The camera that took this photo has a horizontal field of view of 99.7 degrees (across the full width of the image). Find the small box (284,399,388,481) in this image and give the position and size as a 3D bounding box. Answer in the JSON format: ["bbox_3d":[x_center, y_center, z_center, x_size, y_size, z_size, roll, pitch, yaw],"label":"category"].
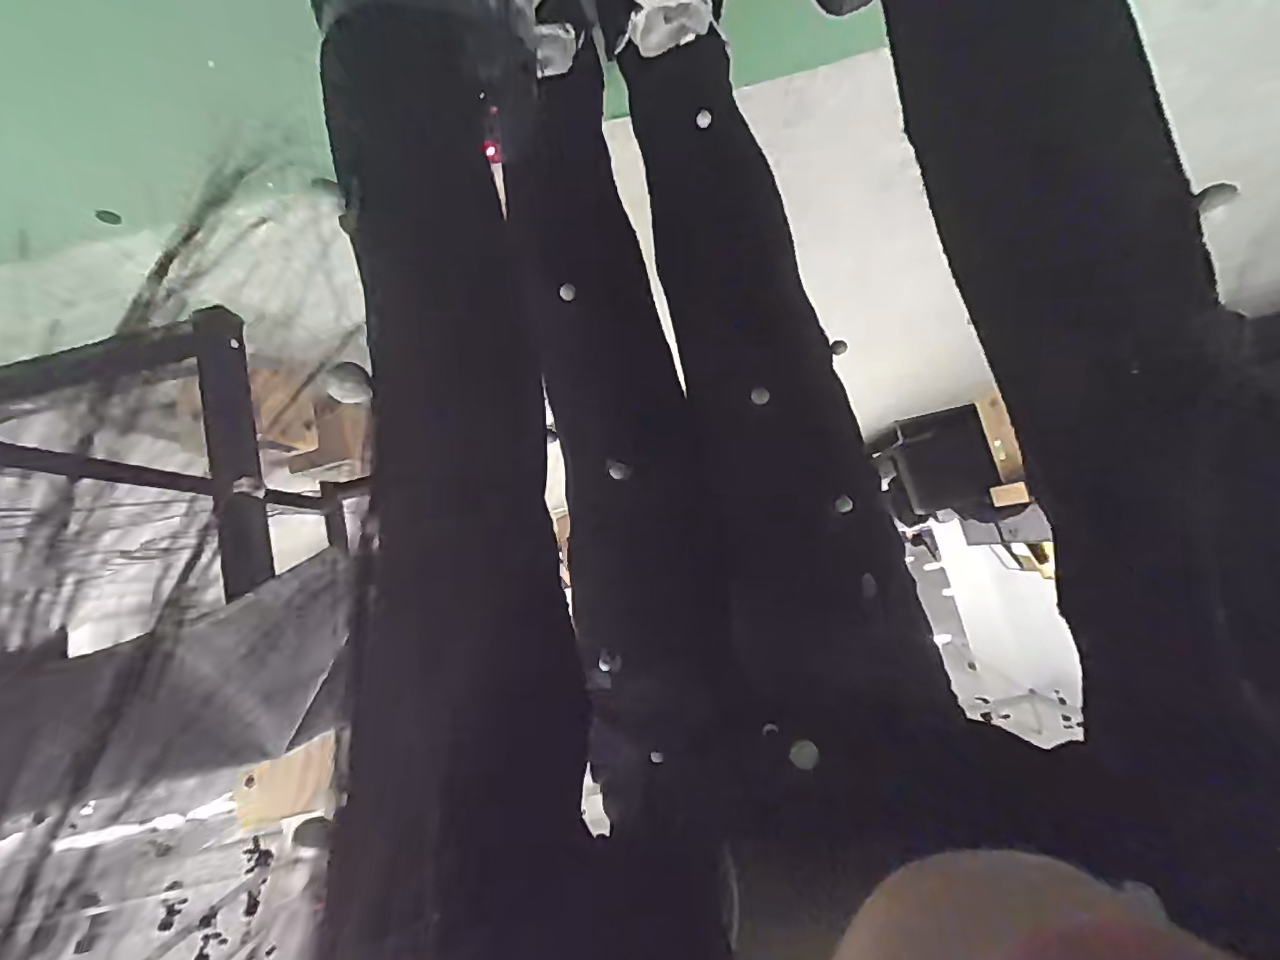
[{"bbox_3d":[-0.802,-0.107,1.429,0.168,0.176,0.179,-13,173,3],"label":"small box"}]

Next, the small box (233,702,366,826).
[{"bbox_3d":[-0.708,0.579,1.126,0.179,0.176,0.168,-13,173,4],"label":"small box"}]
